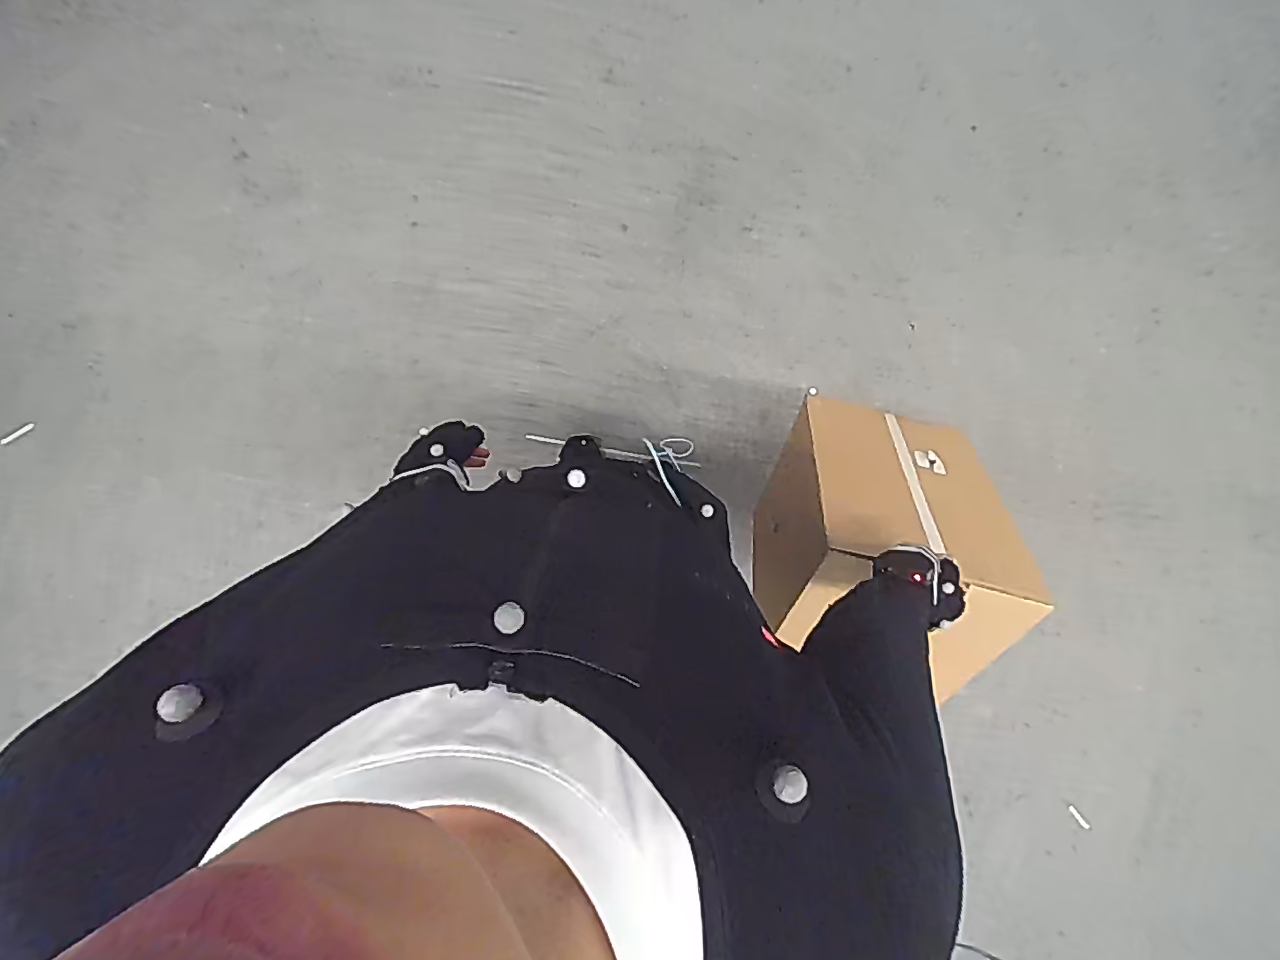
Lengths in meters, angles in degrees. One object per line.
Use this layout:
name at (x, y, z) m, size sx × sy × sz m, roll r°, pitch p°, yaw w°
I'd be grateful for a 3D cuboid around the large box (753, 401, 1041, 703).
large box at (0.398, 0.118, 0.974) m, size 0.320 × 0.408 × 0.320 m, roll 15°, pitch 129°, yaw -1°
